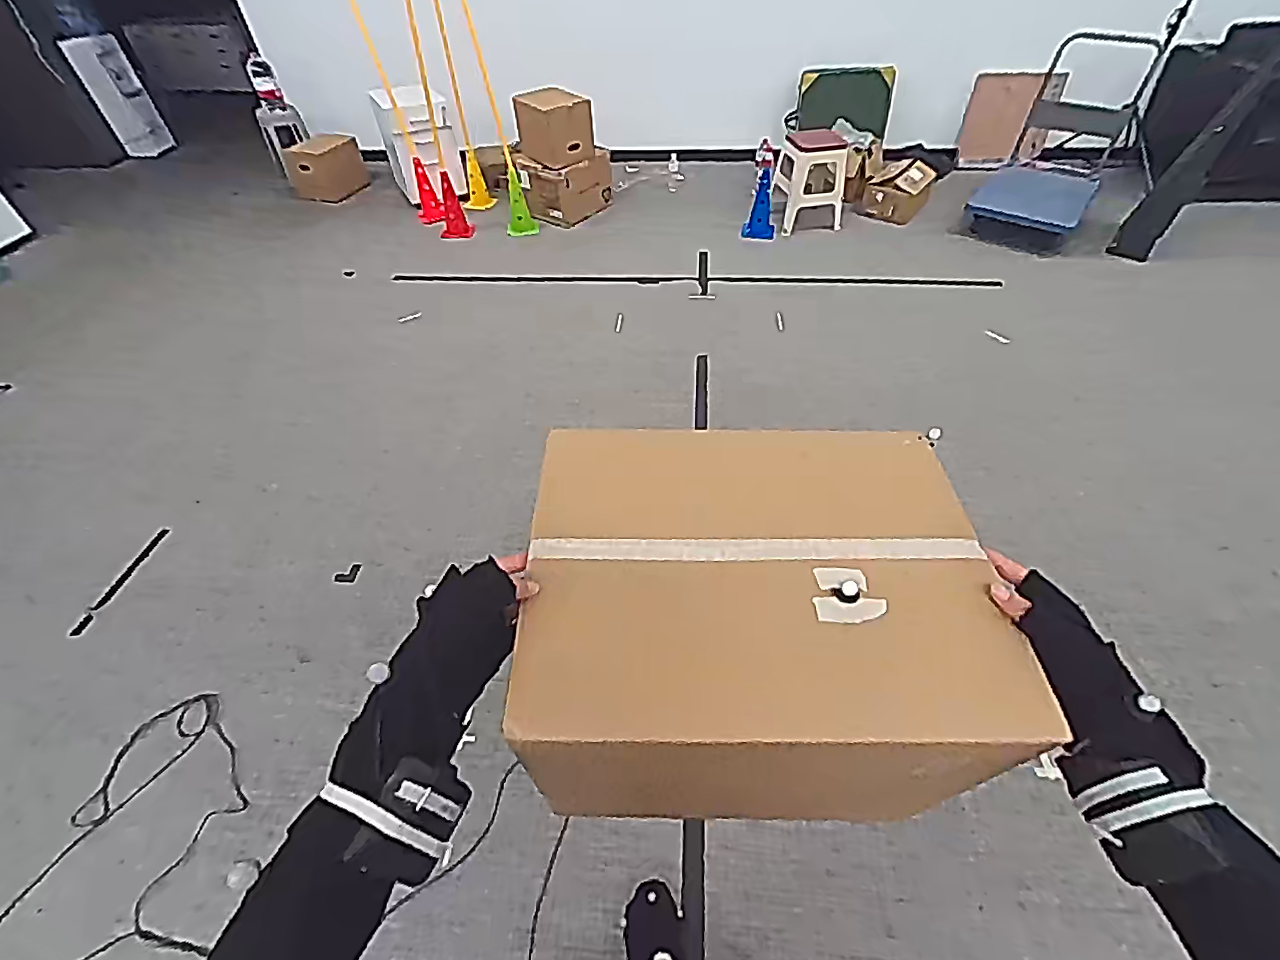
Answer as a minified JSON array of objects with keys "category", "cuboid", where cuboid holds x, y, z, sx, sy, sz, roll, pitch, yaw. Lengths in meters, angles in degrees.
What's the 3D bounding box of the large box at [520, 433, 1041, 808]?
[{"category":"large box","cuboid":[0.102,0.162,0.611,0.408,0.320,0.320,0,50,-1]}]
